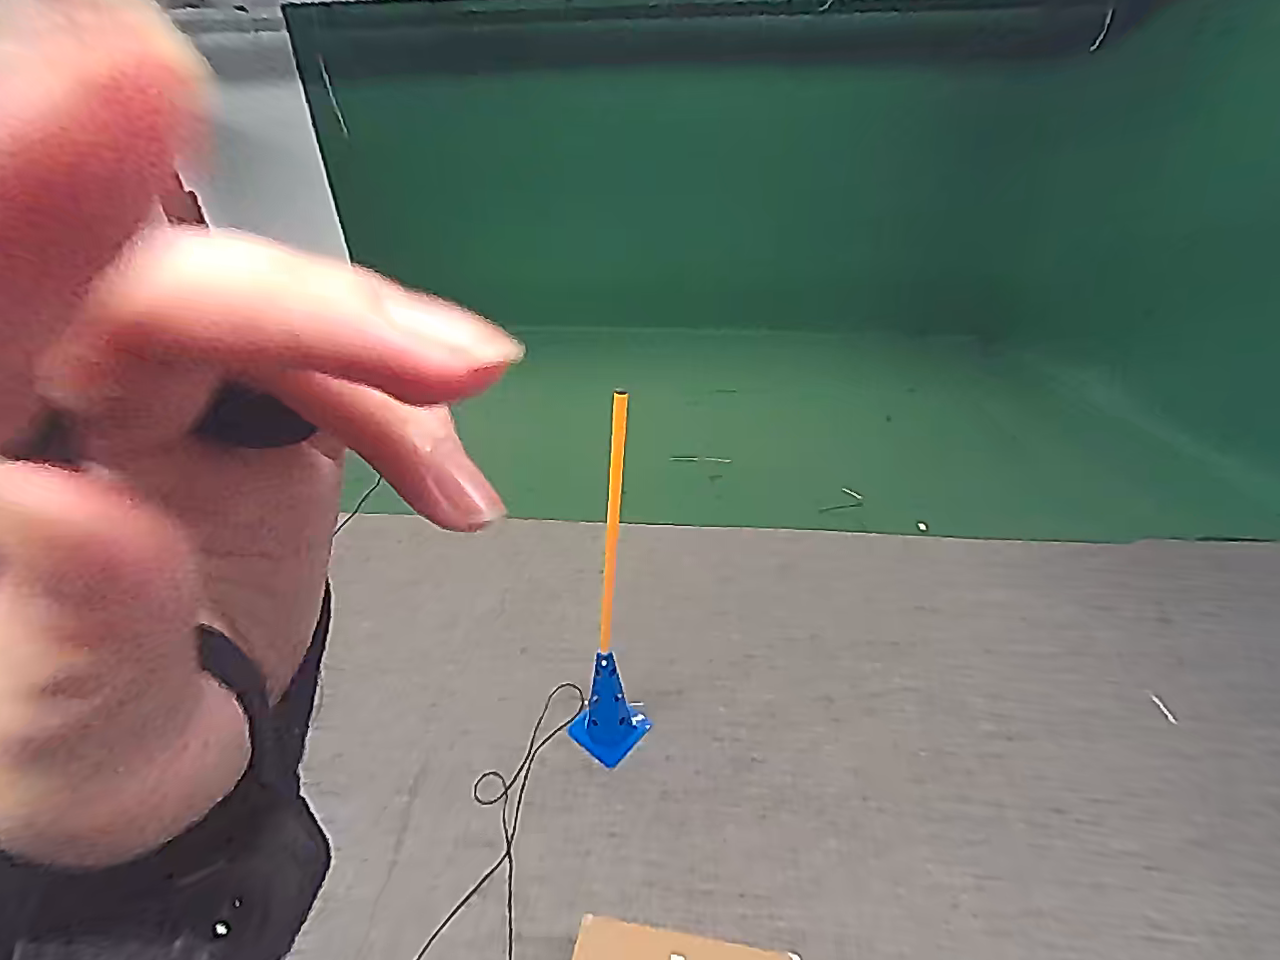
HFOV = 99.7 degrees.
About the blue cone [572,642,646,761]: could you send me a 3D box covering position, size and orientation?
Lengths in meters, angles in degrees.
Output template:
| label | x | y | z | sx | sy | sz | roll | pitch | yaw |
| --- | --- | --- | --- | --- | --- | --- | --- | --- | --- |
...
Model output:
| label | x | y | z | sx | sy | sz | roll | pitch | yaw |
| --- | --- | --- | --- | --- | --- | --- | --- | --- | --- |
| blue cone | -0.096 | 0.619 | 1.600 | 0.192 | 0.380 | 0.193 | 22 | 37 | 31 |
